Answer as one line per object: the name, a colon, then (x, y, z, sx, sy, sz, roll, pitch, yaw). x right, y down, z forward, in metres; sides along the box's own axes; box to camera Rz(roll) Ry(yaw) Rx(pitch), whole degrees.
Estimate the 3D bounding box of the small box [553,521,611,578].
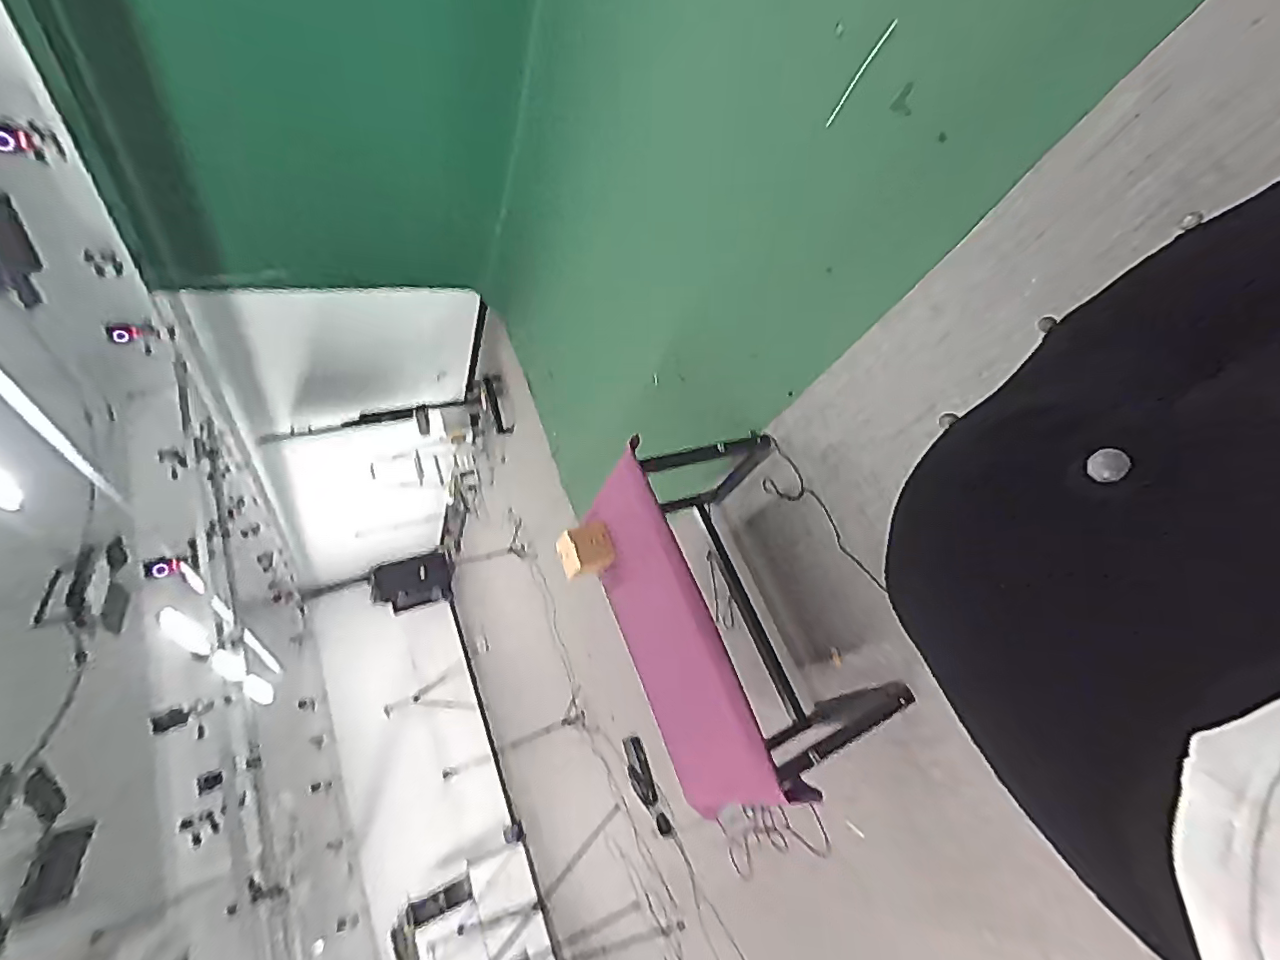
small box: (-0.236, 0.285, 2.248, 0.179, 0.176, 0.168, -48, 60, 52)
